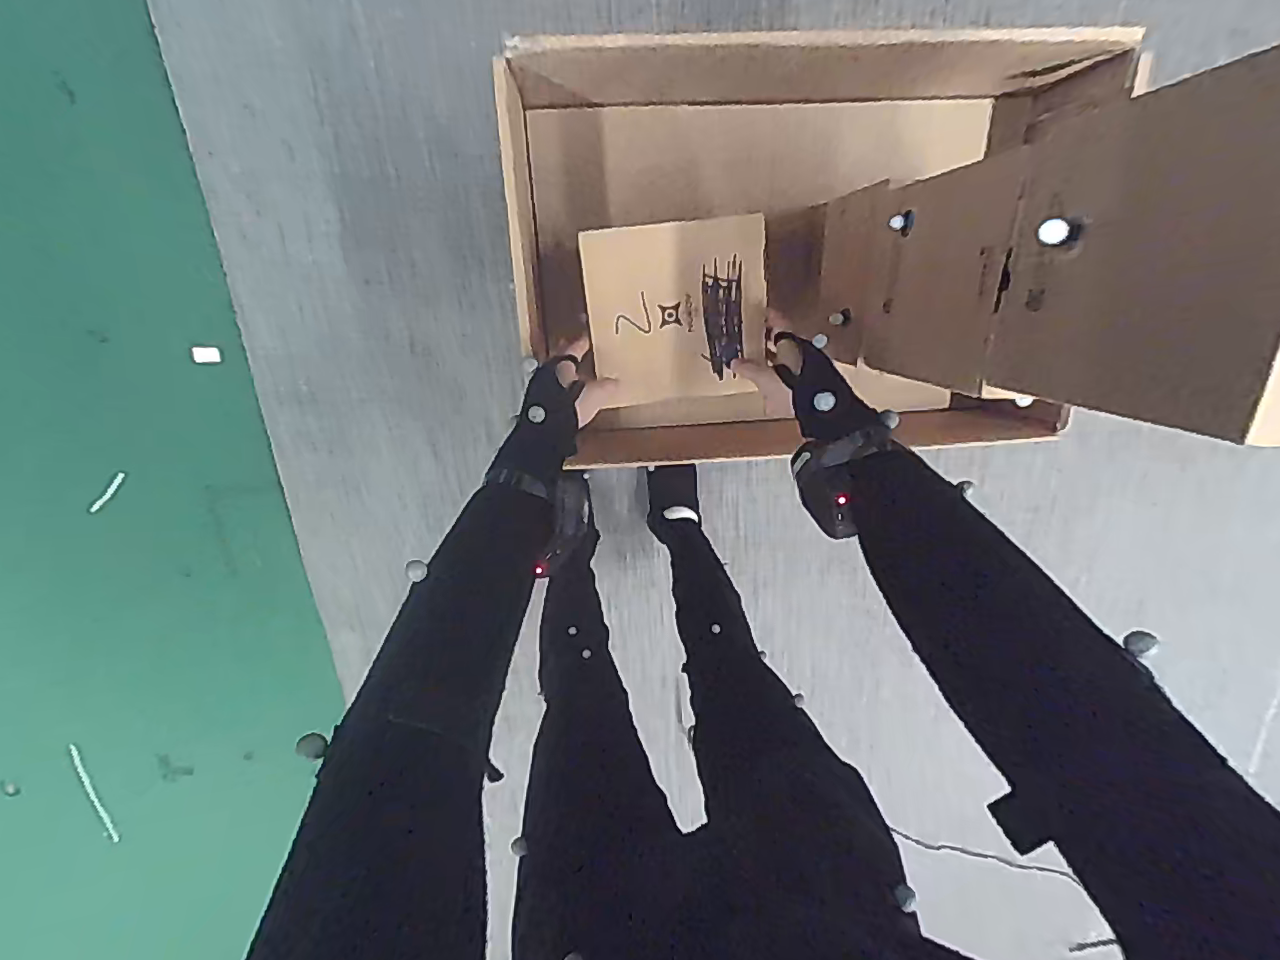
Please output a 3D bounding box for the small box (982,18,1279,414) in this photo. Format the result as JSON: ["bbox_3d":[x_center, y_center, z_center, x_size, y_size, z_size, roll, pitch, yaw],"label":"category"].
[{"bbox_3d":[0.337,-0.133,0.295,0.179,0.176,0.168,-1,108,-4],"label":"small box"}]

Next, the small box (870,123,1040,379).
[{"bbox_3d":[0.319,-0.176,0.452,0.179,0.176,0.168,-1,109,-5],"label":"small box"}]
